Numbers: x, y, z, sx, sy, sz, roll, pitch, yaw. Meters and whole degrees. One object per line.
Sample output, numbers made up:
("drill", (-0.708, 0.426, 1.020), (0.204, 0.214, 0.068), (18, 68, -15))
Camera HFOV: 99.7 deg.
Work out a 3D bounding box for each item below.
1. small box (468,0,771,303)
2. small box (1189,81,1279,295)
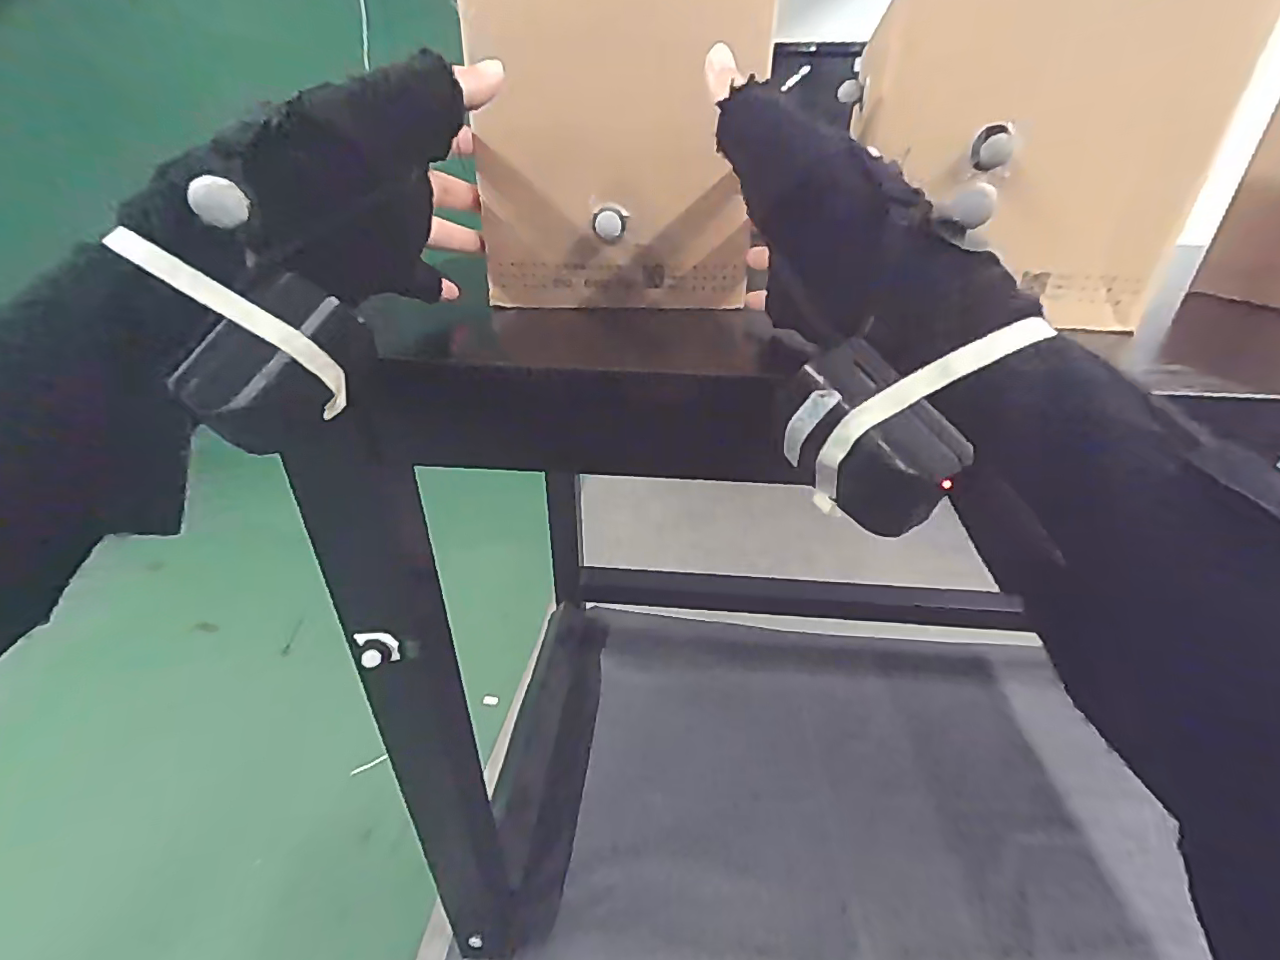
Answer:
("small box", (-0.016, -0.231, 0.390), (0.168, 0.176, 0.179), (-2, 29, -3))
("small box", (0.515, -0.194, 0.328), (0.168, 0.176, 0.179), (0, 29, 0))
